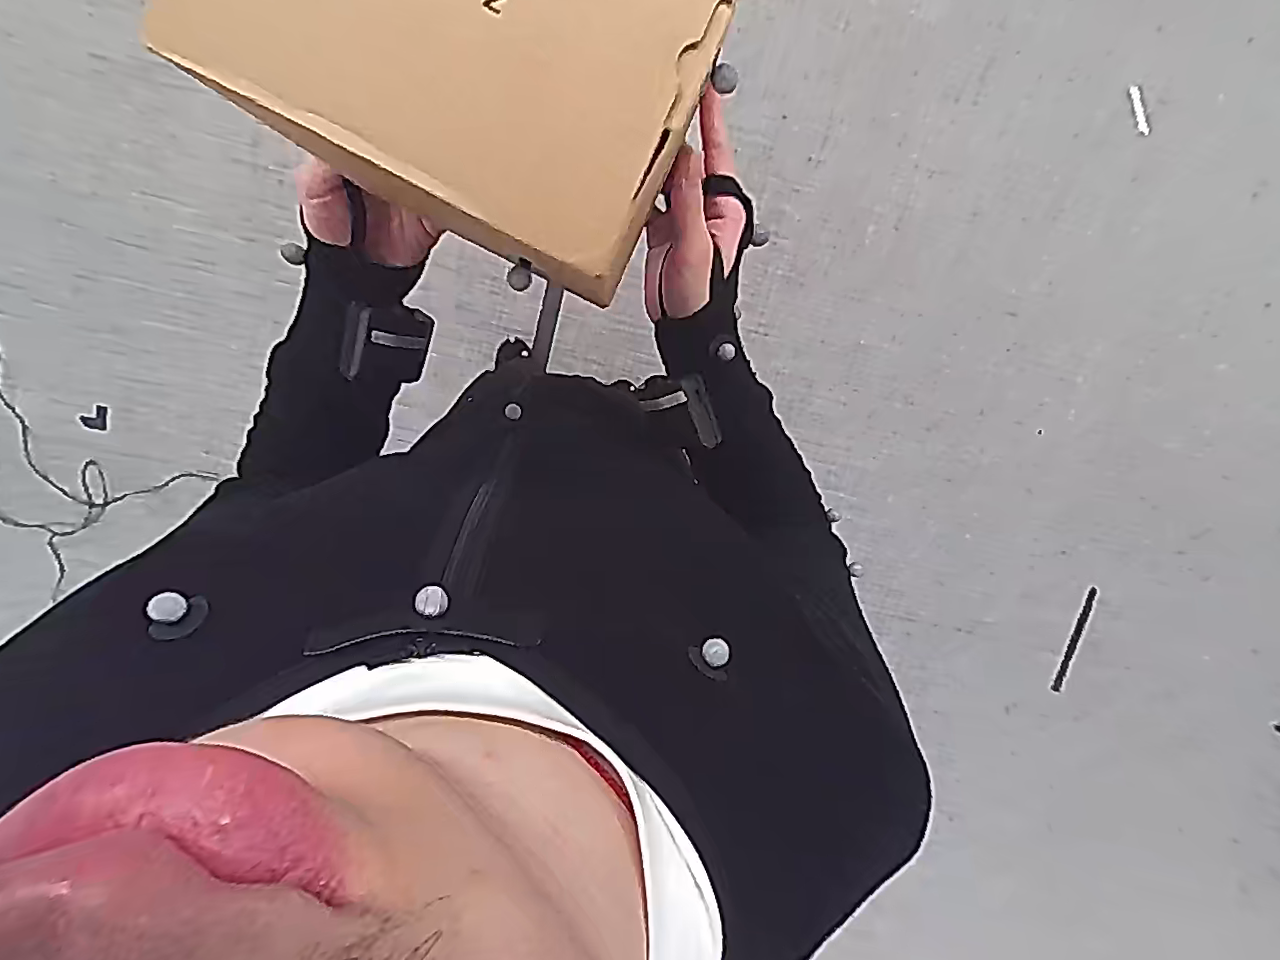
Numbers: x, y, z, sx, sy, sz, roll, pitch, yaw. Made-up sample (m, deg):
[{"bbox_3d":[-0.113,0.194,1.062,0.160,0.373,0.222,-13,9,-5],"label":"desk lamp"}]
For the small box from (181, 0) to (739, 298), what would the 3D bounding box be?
[{"bbox_3d":[-0.061,-0.206,0.273,0.179,0.176,0.168,23,100,-8],"label":"small box"}]
